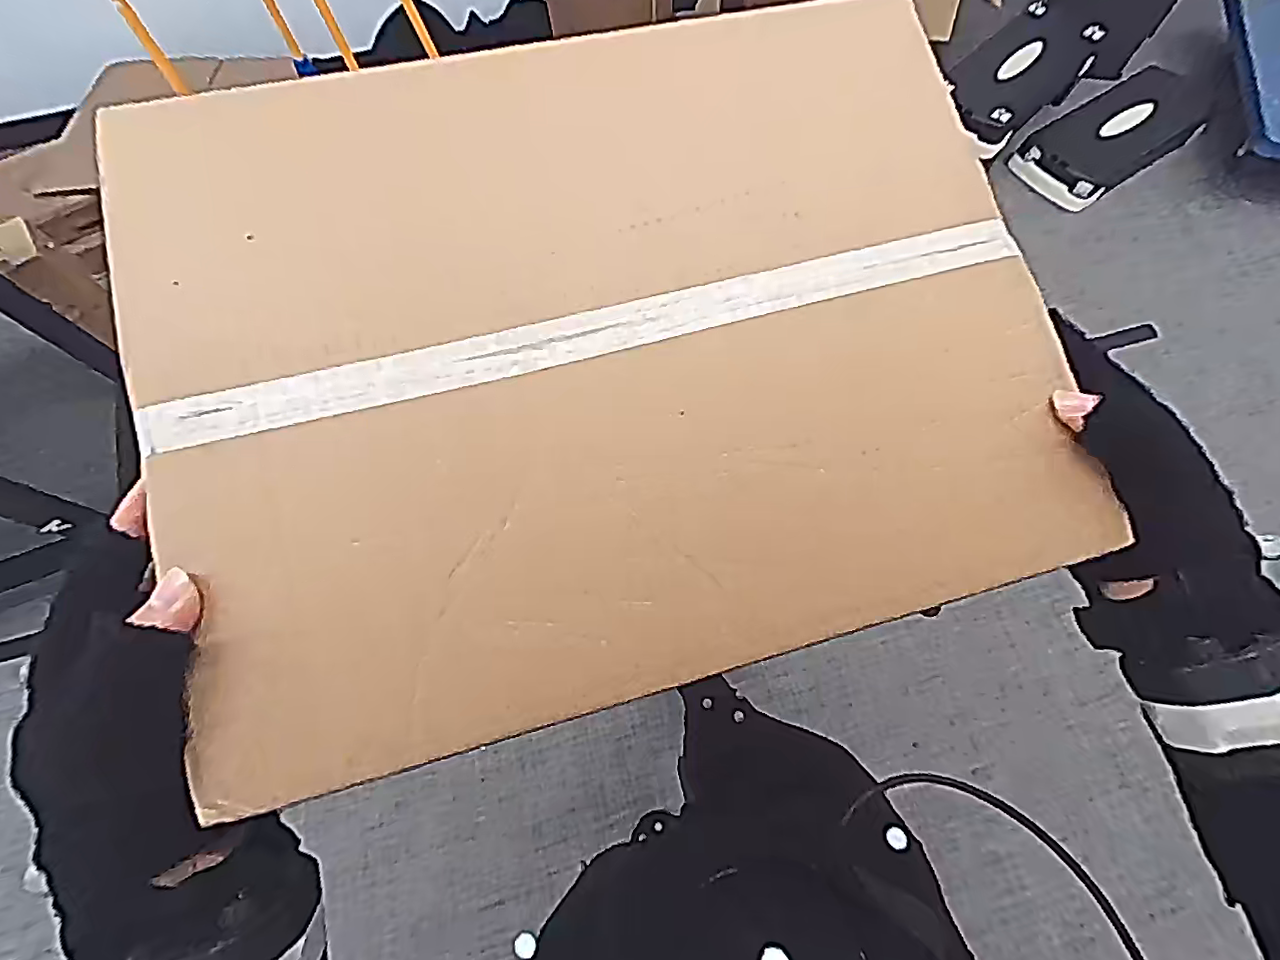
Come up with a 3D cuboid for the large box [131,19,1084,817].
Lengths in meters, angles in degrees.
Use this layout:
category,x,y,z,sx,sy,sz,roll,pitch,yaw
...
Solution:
category,x,y,z,sx,sy,sz,roll,pitch,yaw
large box,-0.022,-0.038,0.405,0.408,0.320,0.320,-15,81,-7
